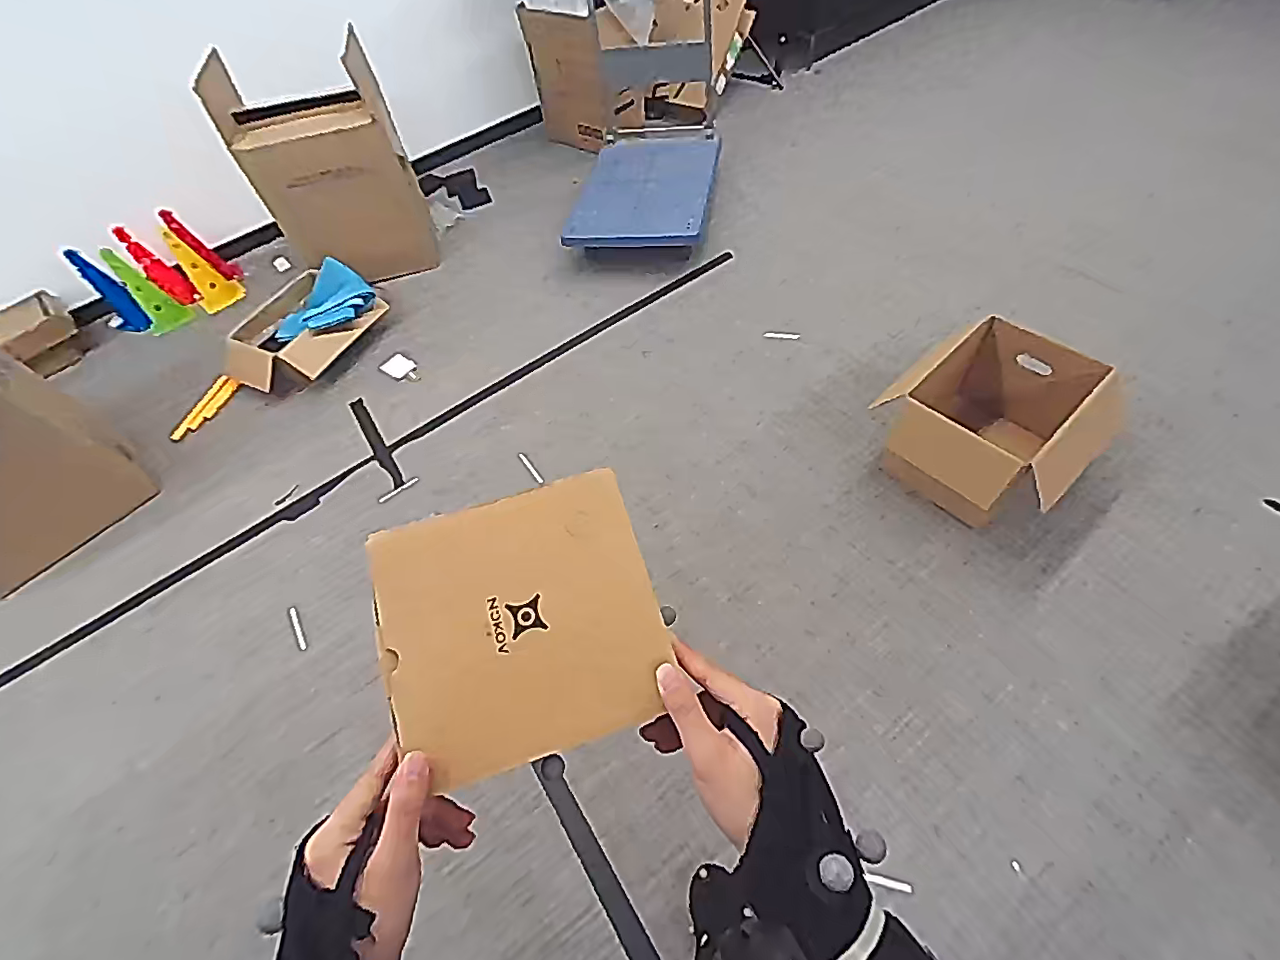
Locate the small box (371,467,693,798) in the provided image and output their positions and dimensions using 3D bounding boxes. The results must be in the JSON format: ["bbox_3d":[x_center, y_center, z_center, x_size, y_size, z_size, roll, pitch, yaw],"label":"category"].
[{"bbox_3d":[-0.073,0.112,0.419,0.179,0.176,0.168,-17,71,-5],"label":"small box"}]
